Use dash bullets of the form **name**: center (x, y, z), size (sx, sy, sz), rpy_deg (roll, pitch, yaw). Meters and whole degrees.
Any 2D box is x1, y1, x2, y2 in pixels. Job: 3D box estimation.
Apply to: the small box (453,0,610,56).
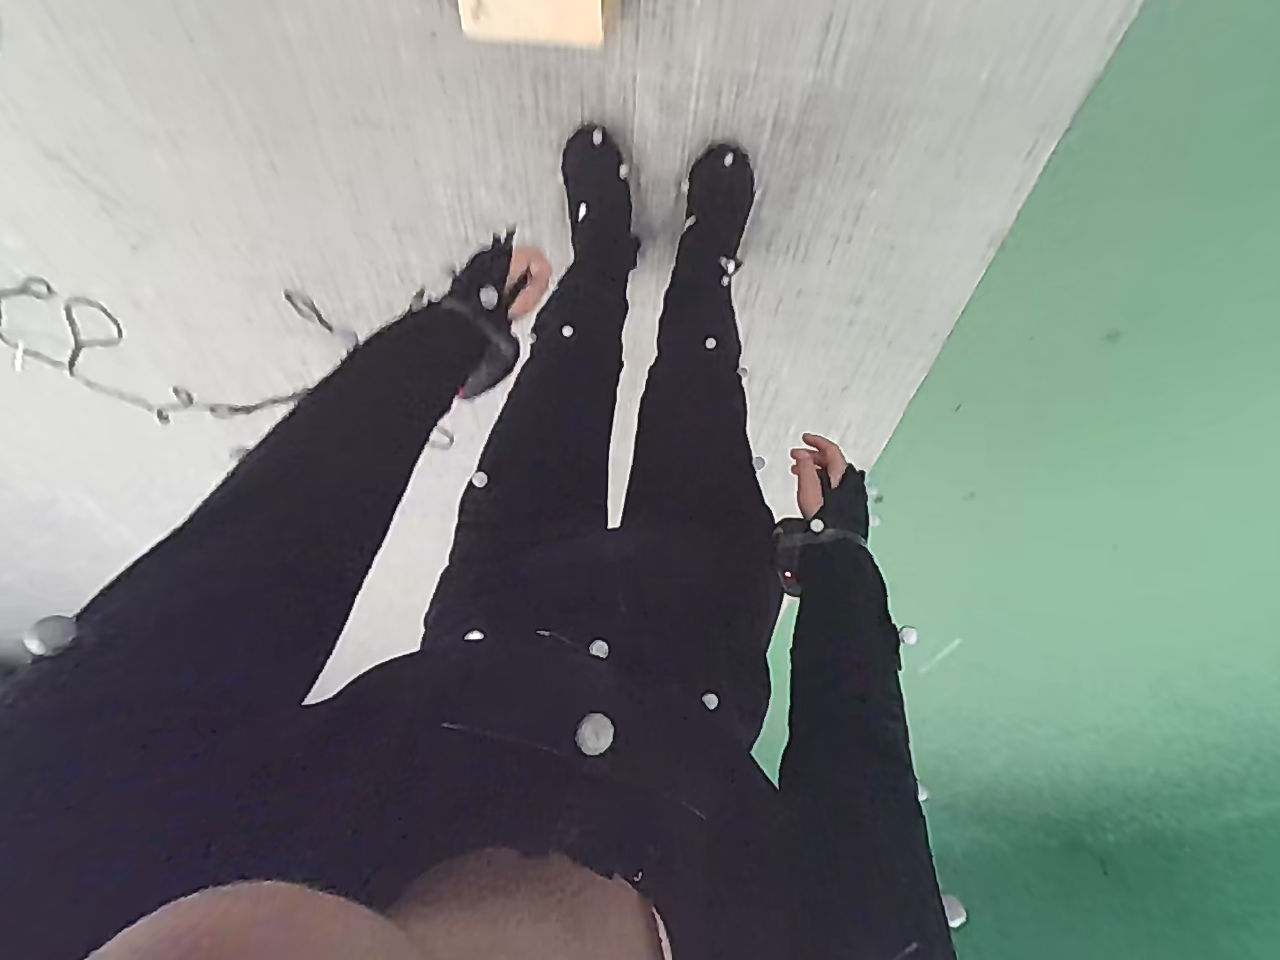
- **small box**: center (-0.128, -0.645, 0.658), size (0.179, 0.176, 0.168), rpy_deg (5, 140, 1)
